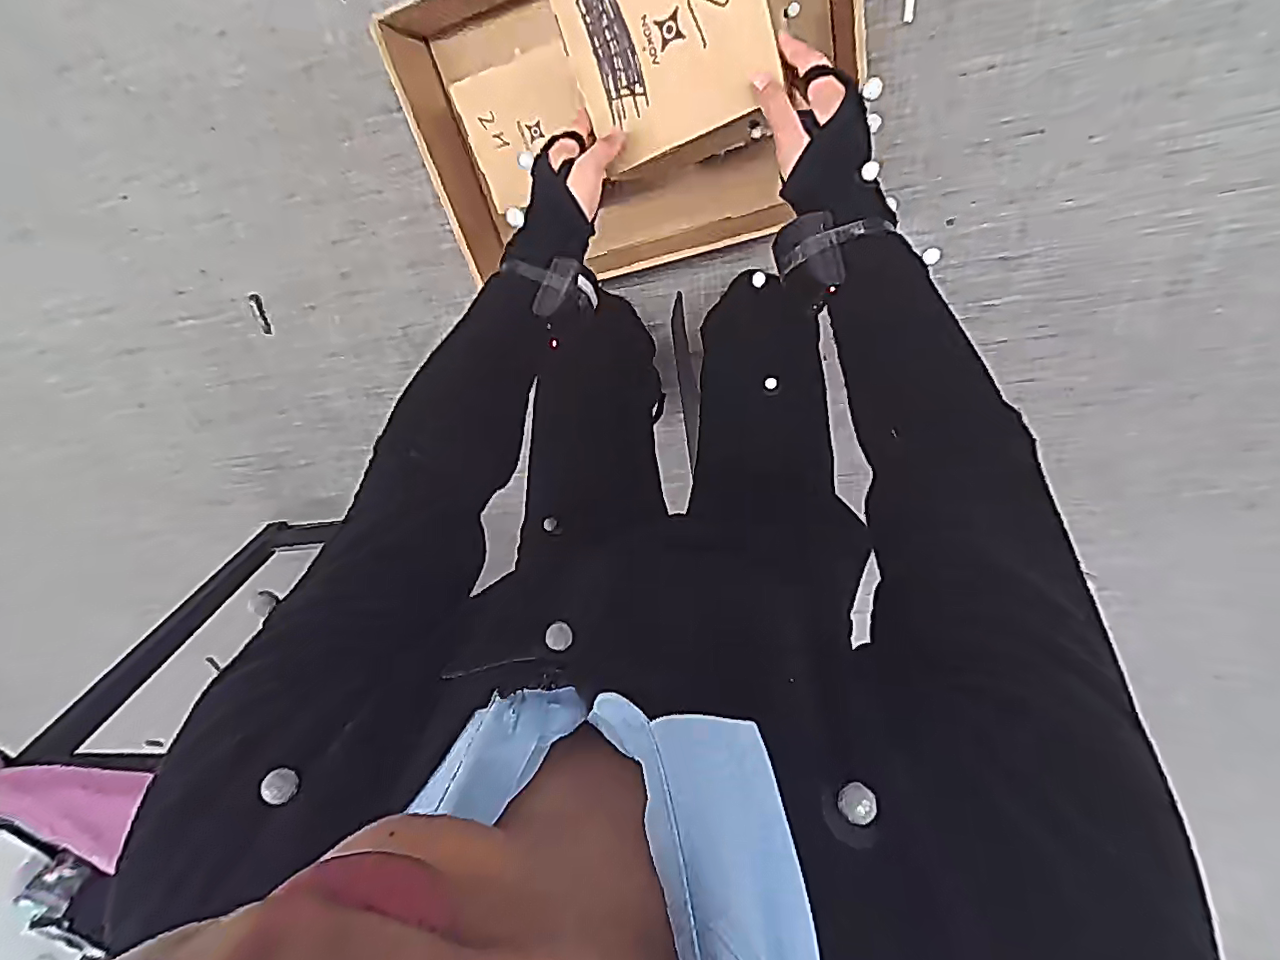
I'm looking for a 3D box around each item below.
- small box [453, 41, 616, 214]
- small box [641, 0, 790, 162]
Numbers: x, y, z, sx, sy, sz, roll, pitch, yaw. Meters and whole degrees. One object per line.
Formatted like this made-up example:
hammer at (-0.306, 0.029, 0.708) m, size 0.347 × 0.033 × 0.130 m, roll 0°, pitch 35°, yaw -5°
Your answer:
small box at (-0.141, -0.521, 0.811) m, size 0.179 × 0.176 × 0.168 m, roll -12°, pitch 120°, yaw 14°
small box at (0.107, -0.564, 0.751) m, size 0.168 × 0.176 × 0.179 m, roll -9°, pitch 122°, yaw 15°
